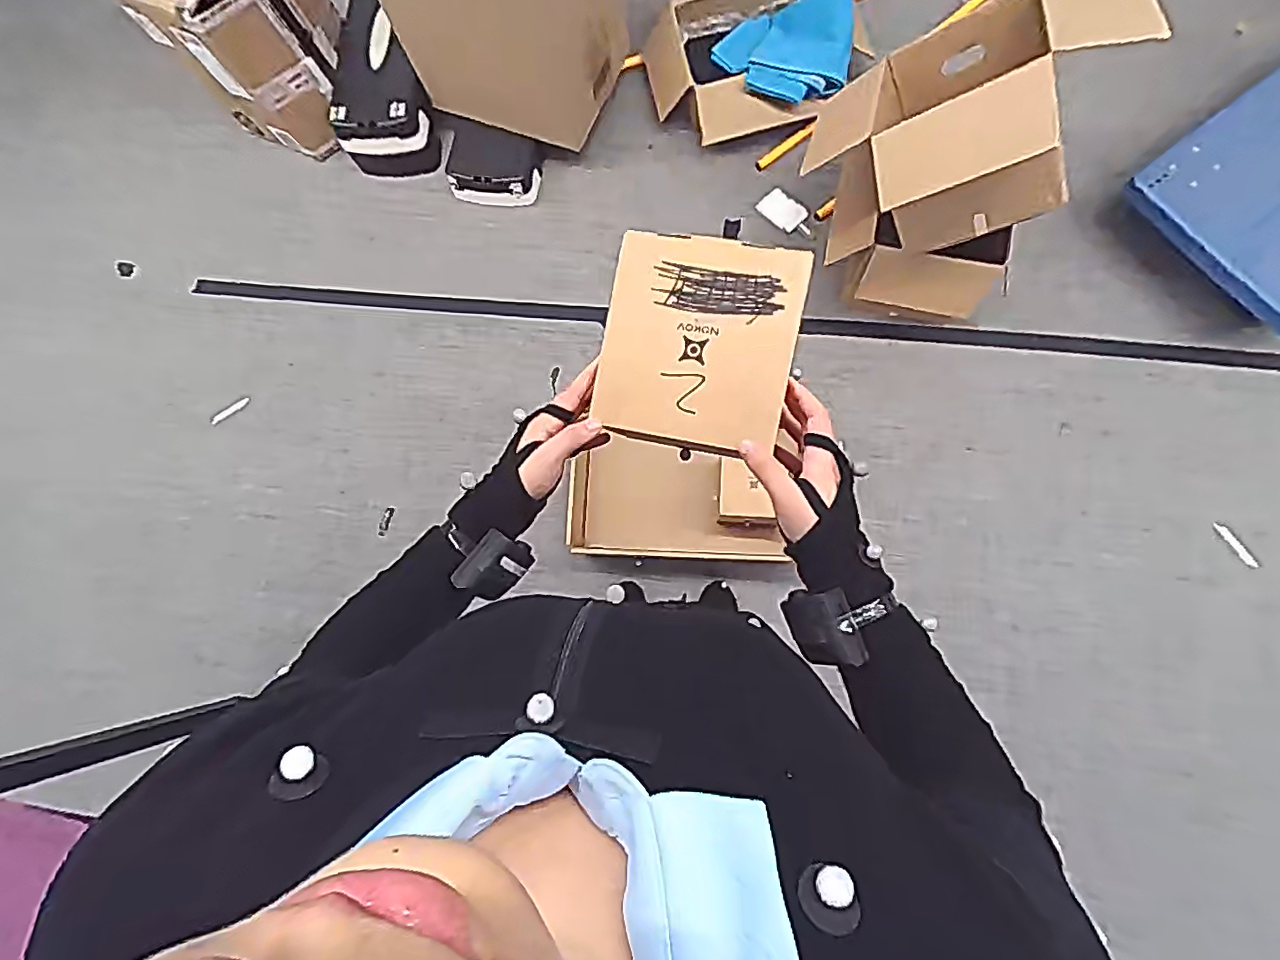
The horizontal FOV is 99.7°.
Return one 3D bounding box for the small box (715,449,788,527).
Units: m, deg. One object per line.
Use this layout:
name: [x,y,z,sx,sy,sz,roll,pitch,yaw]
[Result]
small box: [0.285,0.026,1.403,0.168,0.176,0.179,3,78,5]
